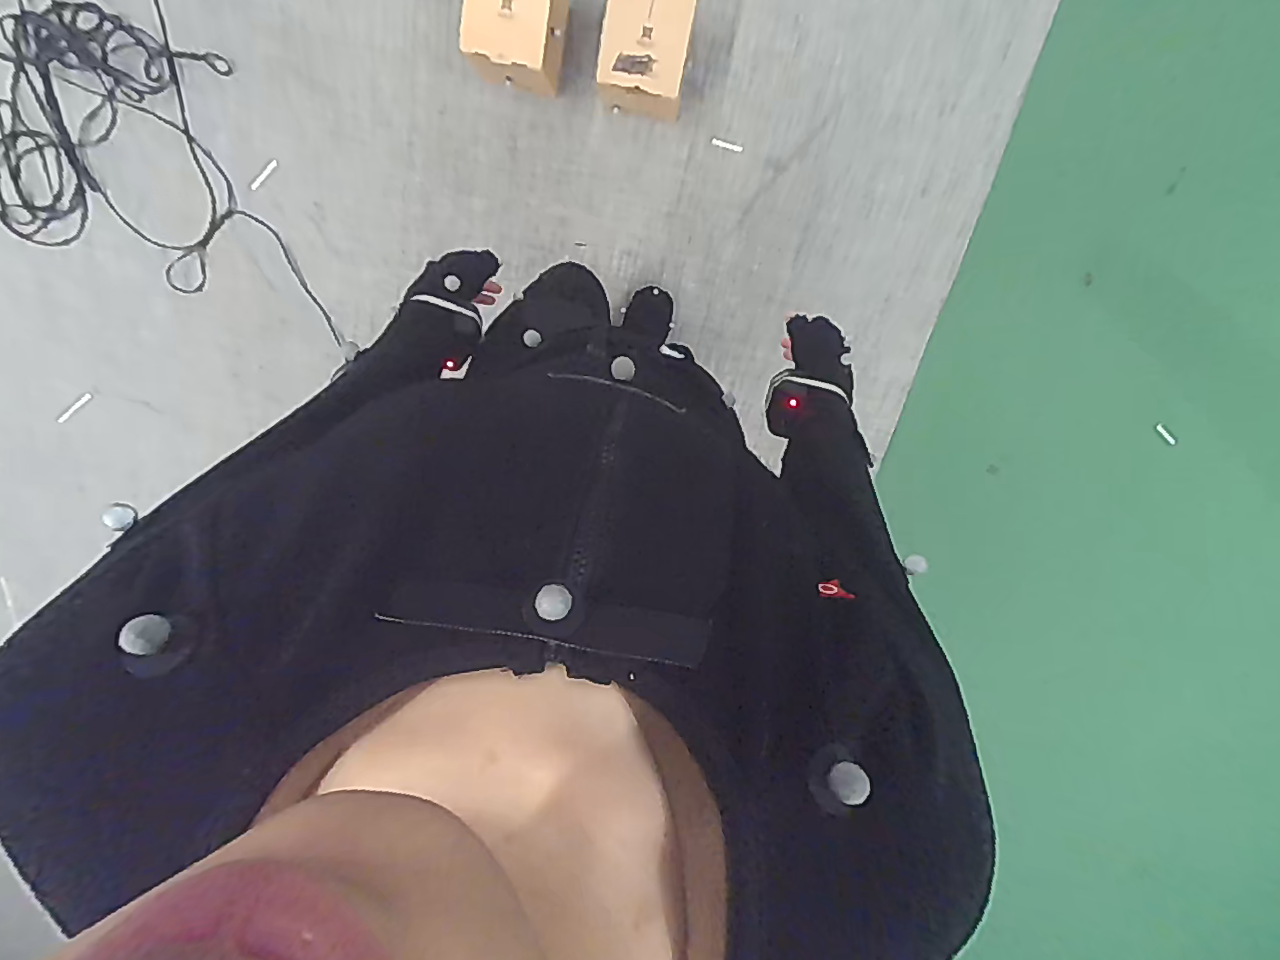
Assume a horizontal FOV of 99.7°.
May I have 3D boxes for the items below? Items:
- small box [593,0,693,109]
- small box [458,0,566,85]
[{"bbox_3d":[0.010,-0.887,1.097,0.168,0.176,0.179,12,110,-2],"label":"small box"},{"bbox_3d":[-0.250,-0.941,1.090,0.168,0.176,0.179,13,111,-2],"label":"small box"}]
